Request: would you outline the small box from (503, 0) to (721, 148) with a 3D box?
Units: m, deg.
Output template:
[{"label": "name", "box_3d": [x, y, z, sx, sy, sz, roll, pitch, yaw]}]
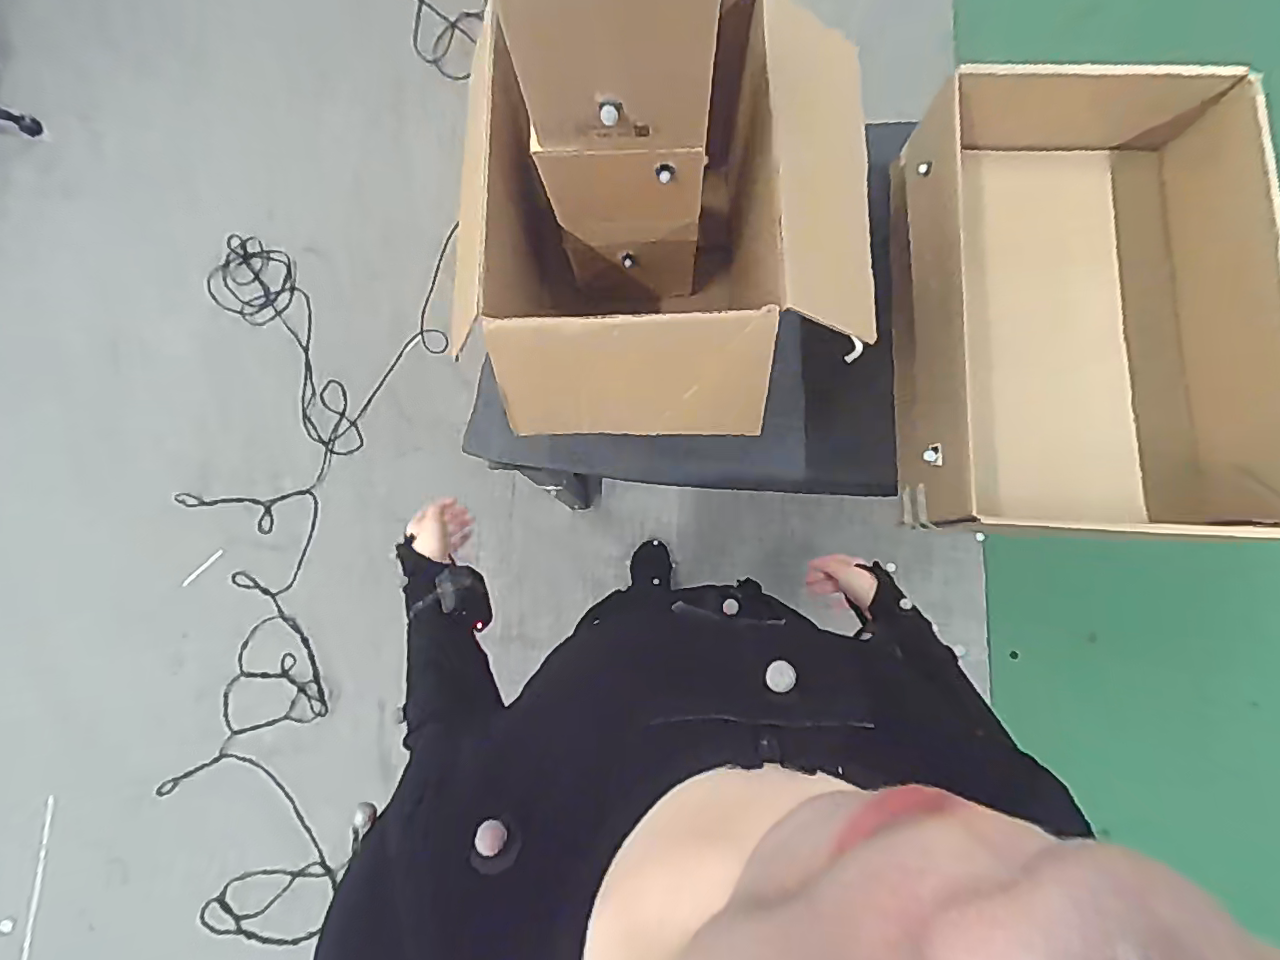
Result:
[{"label": "small box", "box_3d": [-0.019, -0.422, 0.459, 0.168, 0.176, 0.179, 1, 85, 3]}]
